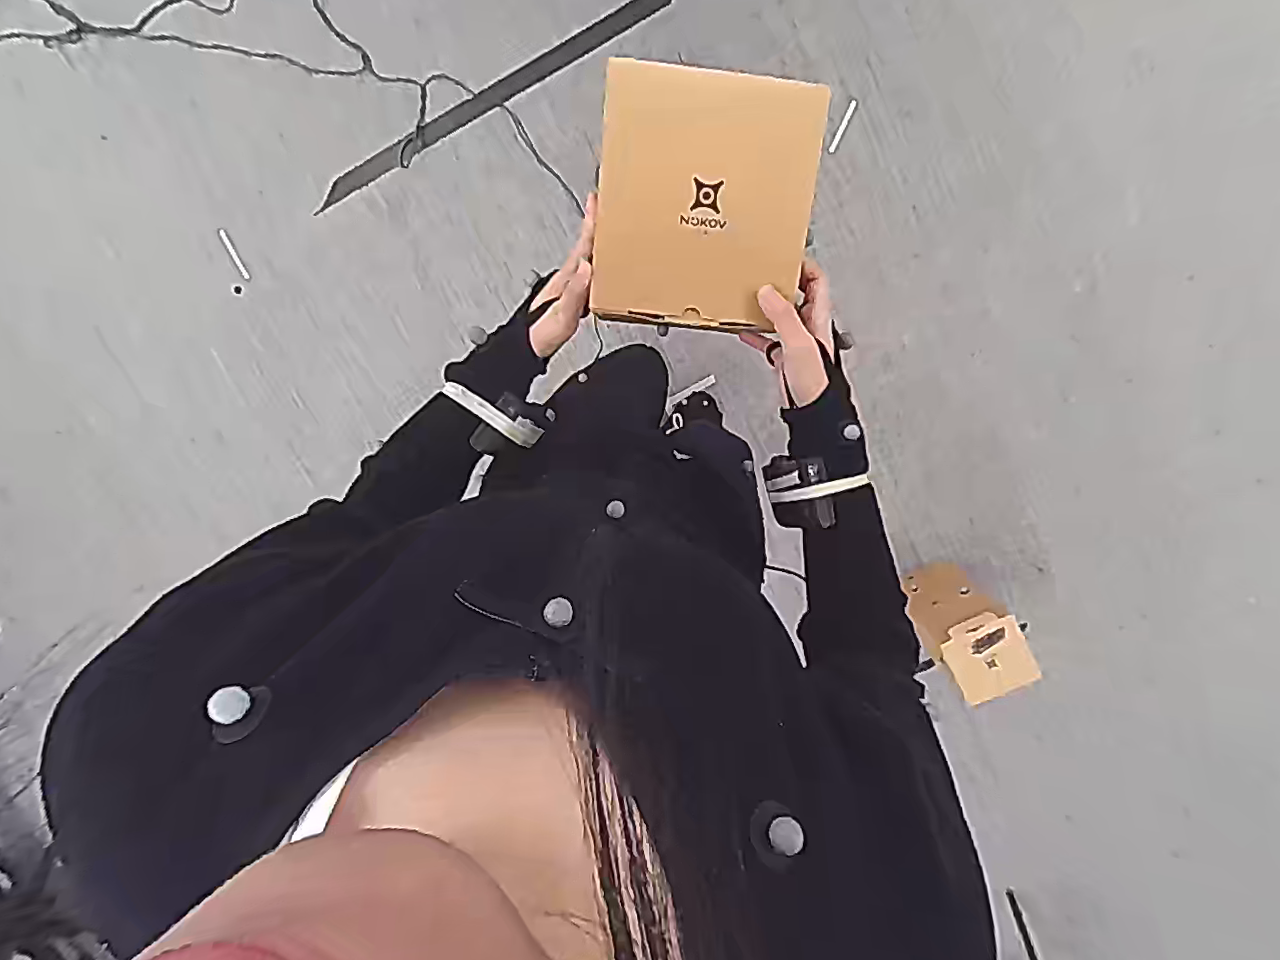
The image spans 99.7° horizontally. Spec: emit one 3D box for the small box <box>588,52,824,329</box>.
[{"bbox_3d":[0.043,-0.235,0.489,0.168,0.176,0.179,5,106,-4],"label":"small box"}]

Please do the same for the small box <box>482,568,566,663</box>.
[{"bbox_3d":[-0.320,0.375,1.525,0.168,0.176,0.179,19,103,2],"label":"small box"}]

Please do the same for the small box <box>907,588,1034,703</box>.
[{"bbox_3d":[0.757,0.373,1.261,0.168,0.176,0.179,-28,98,11],"label":"small box"}]

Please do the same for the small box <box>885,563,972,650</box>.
[{"bbox_3d":[0.777,0.337,1.421,0.168,0.176,0.179,-29,99,11],"label":"small box"}]
